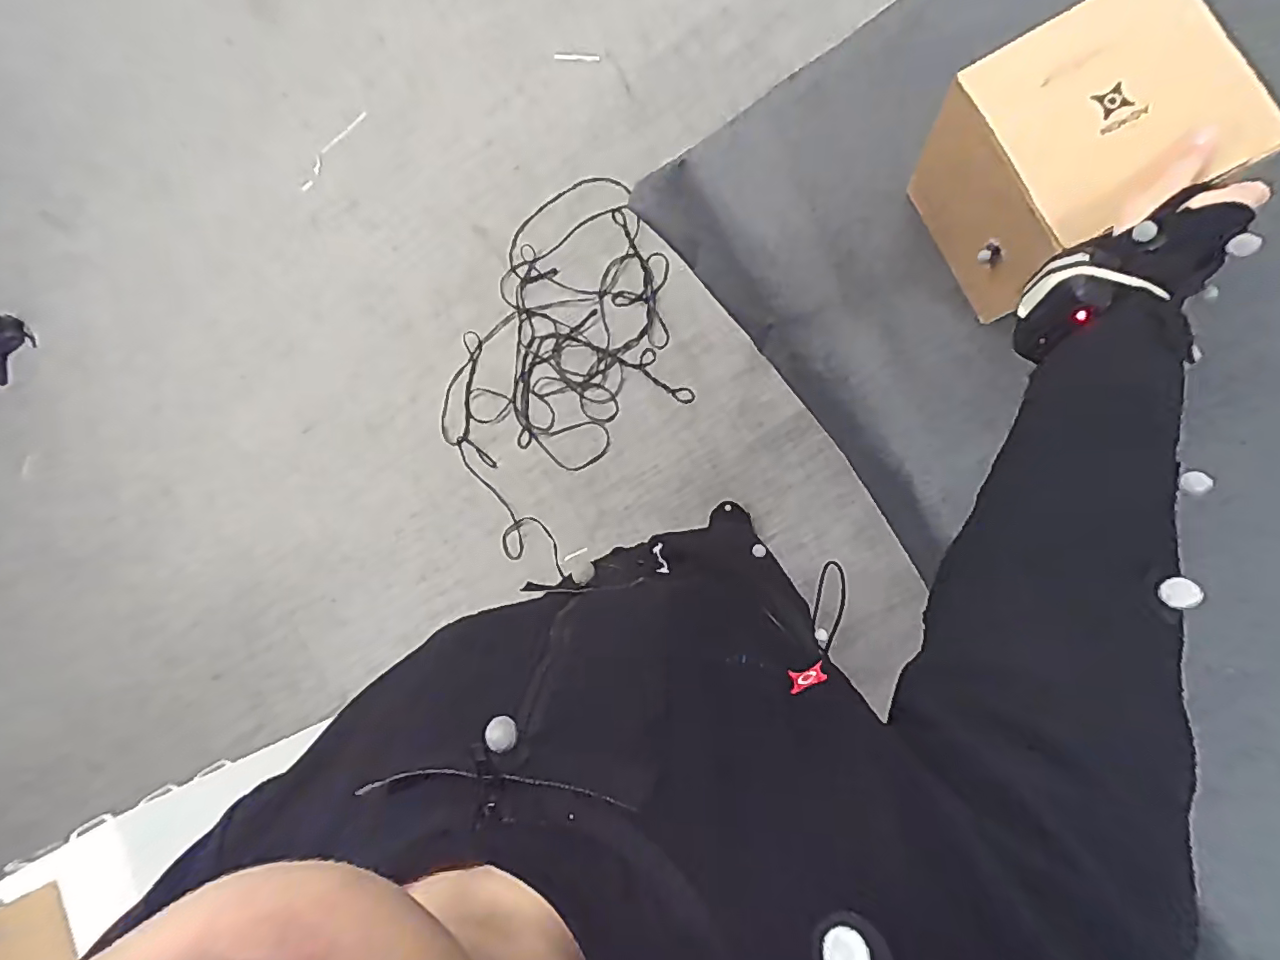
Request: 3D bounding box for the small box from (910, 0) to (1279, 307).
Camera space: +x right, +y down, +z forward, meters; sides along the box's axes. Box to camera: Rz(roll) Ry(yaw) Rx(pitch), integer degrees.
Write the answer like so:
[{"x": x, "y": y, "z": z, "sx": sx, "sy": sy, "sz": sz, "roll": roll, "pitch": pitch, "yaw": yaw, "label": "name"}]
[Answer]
[{"x": 0.380, "y": -0.282, "z": 0.492, "sx": 0.168, "sy": 0.176, "sz": 0.179, "roll": -26, "pitch": 80, "yaw": 10, "label": "small box"}]
